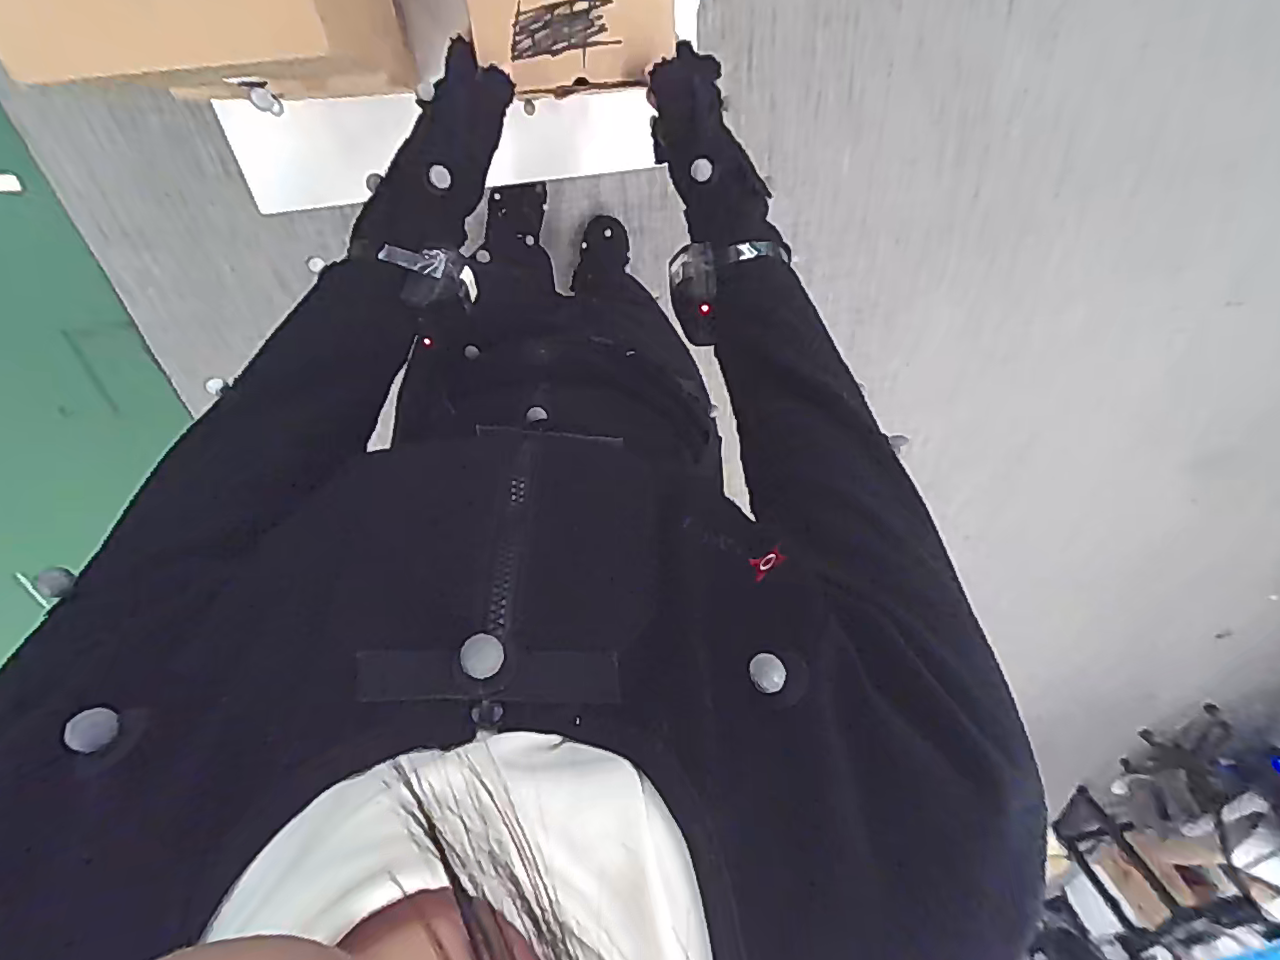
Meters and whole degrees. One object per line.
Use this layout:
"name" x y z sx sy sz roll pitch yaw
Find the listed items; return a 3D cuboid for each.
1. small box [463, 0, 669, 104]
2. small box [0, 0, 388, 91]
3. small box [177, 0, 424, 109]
"small box" -0.069 -0.447 0.484 0.168 0.176 0.179 -8 123 -4
"small box" -0.268 -0.336 0.305 0.168 0.176 0.179 -9 126 -4
"small box" -0.299 -0.426 0.456 0.168 0.176 0.179 -7 123 -5
